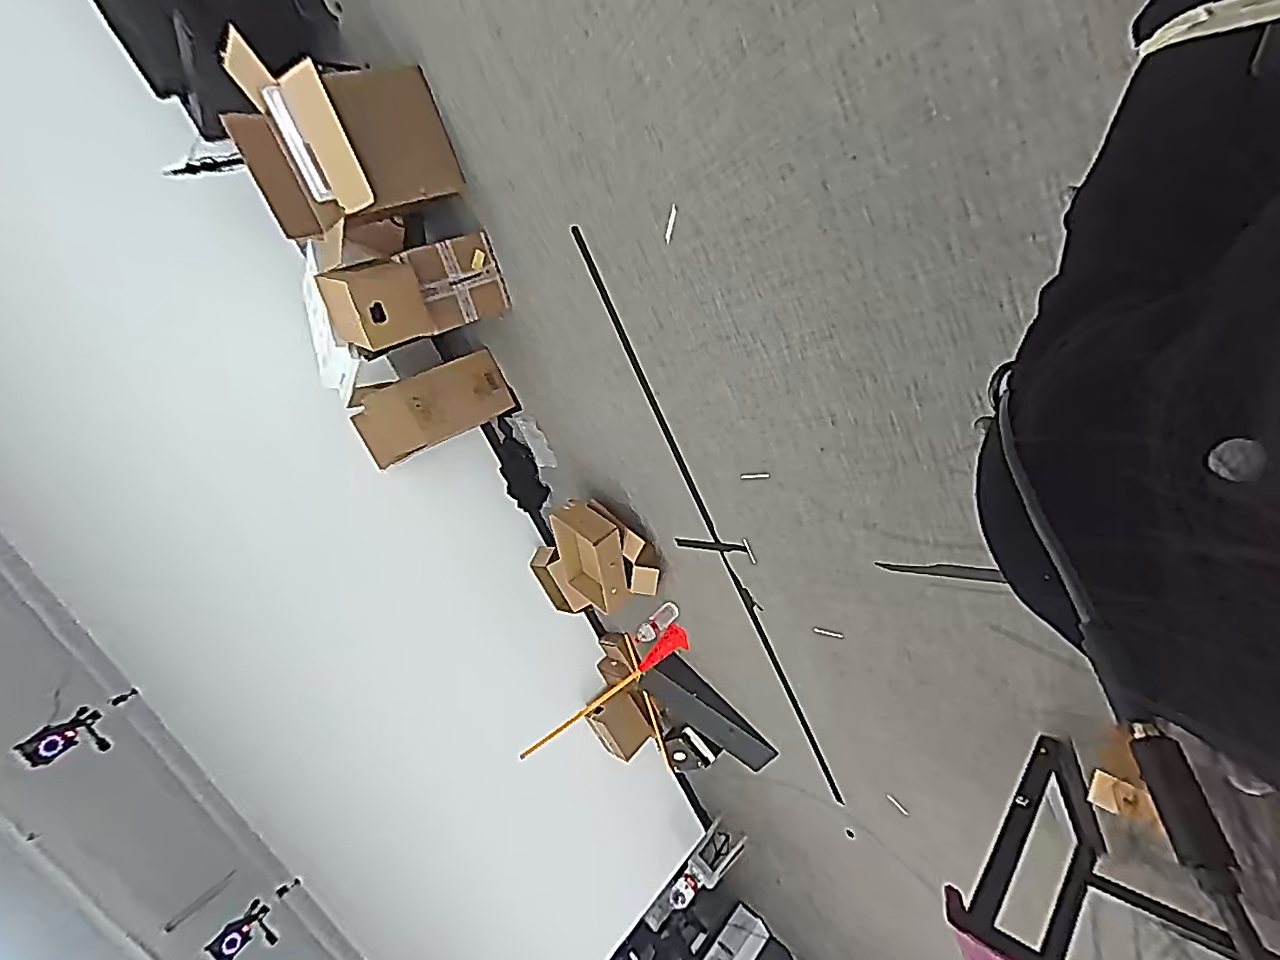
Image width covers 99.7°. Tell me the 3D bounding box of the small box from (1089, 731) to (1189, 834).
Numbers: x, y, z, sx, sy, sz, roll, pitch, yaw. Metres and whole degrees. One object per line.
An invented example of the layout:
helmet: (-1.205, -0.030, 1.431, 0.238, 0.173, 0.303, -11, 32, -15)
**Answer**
small box: (1.465, 0.876, 1.588, 0.179, 0.176, 0.168, 17, 132, 44)
